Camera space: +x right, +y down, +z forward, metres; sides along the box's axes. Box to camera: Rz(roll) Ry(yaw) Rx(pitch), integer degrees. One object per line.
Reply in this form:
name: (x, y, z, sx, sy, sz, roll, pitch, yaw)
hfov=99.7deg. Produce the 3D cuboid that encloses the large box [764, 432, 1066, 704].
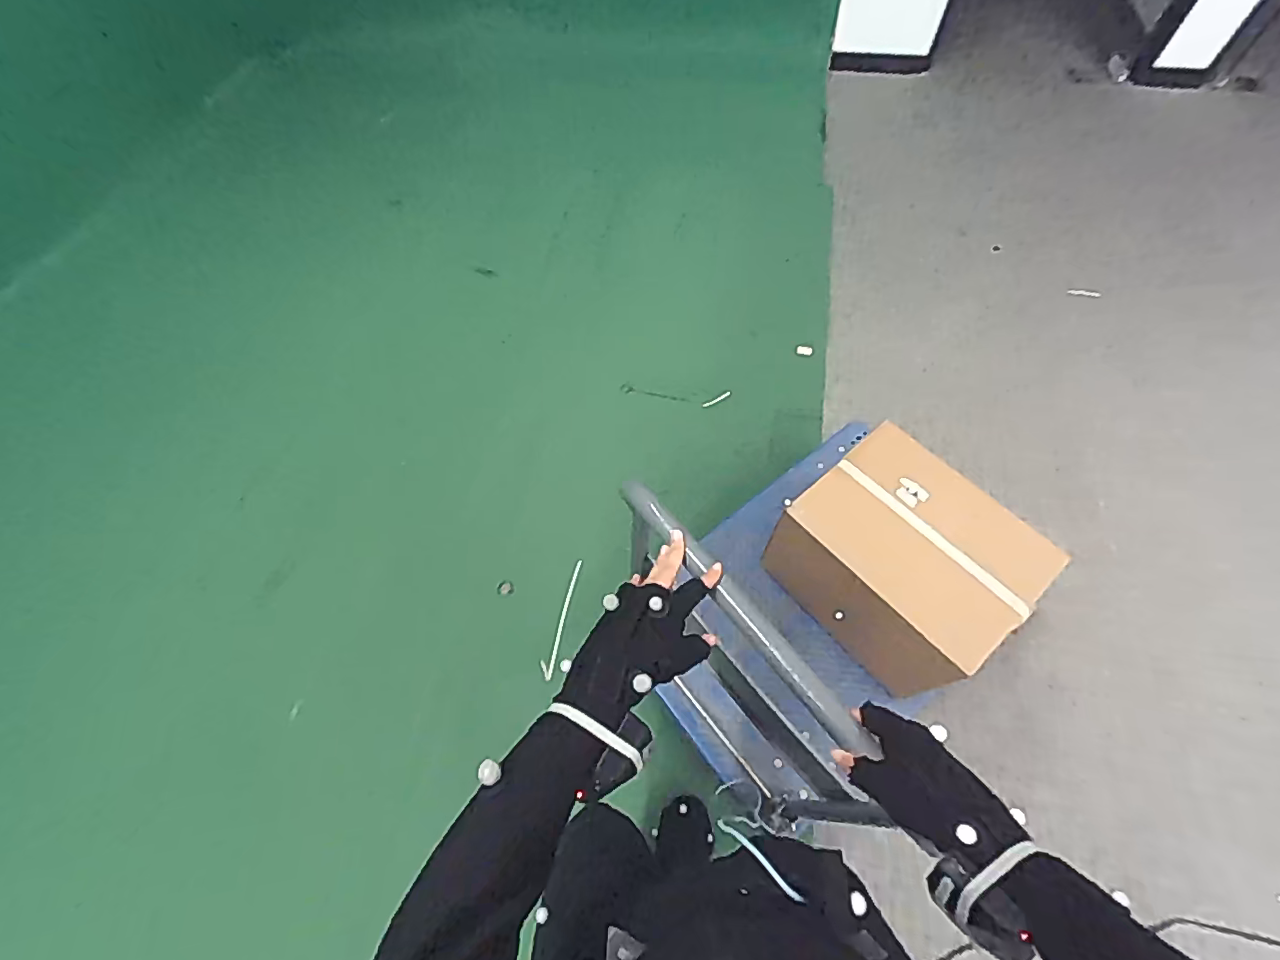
large box: (0.523, 0.186, 1.120, 0.320, 0.320, 0.408, -37, 64, -17)
